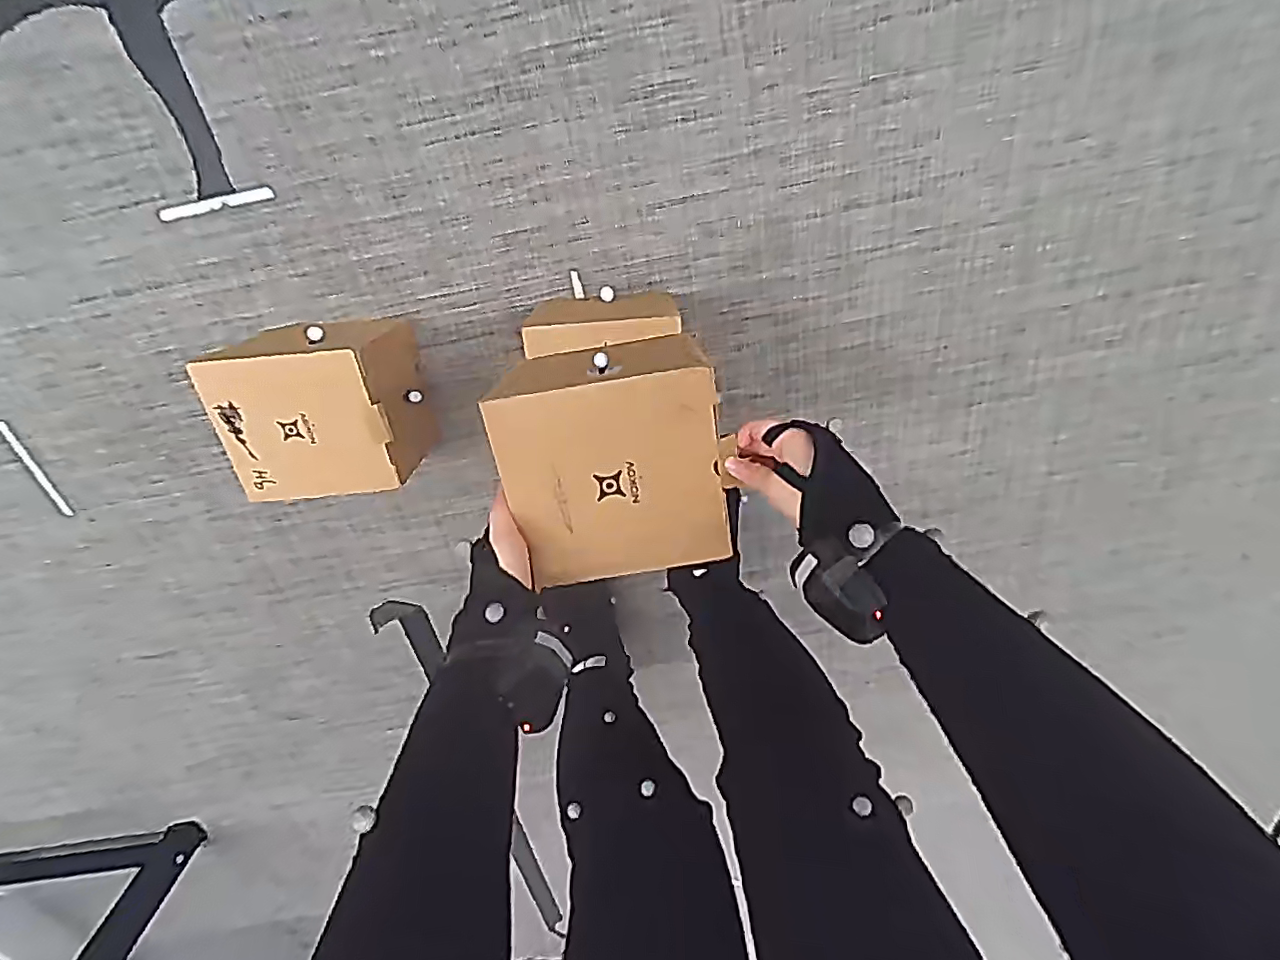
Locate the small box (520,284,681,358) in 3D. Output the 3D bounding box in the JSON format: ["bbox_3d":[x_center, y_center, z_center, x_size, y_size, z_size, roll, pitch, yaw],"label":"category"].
[{"bbox_3d":[-0.040,-0.129,0.651,0.168,0.176,0.179,-4,117,-2],"label":"small box"}]

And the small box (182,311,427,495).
[{"bbox_3d":[-0.370,-0.099,0.645,0.179,0.176,0.168,-5,118,-2],"label":"small box"}]

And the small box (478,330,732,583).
[{"bbox_3d":[-0.023,-0.032,0.488,0.179,0.176,0.168,-8,113,2],"label":"small box"}]
